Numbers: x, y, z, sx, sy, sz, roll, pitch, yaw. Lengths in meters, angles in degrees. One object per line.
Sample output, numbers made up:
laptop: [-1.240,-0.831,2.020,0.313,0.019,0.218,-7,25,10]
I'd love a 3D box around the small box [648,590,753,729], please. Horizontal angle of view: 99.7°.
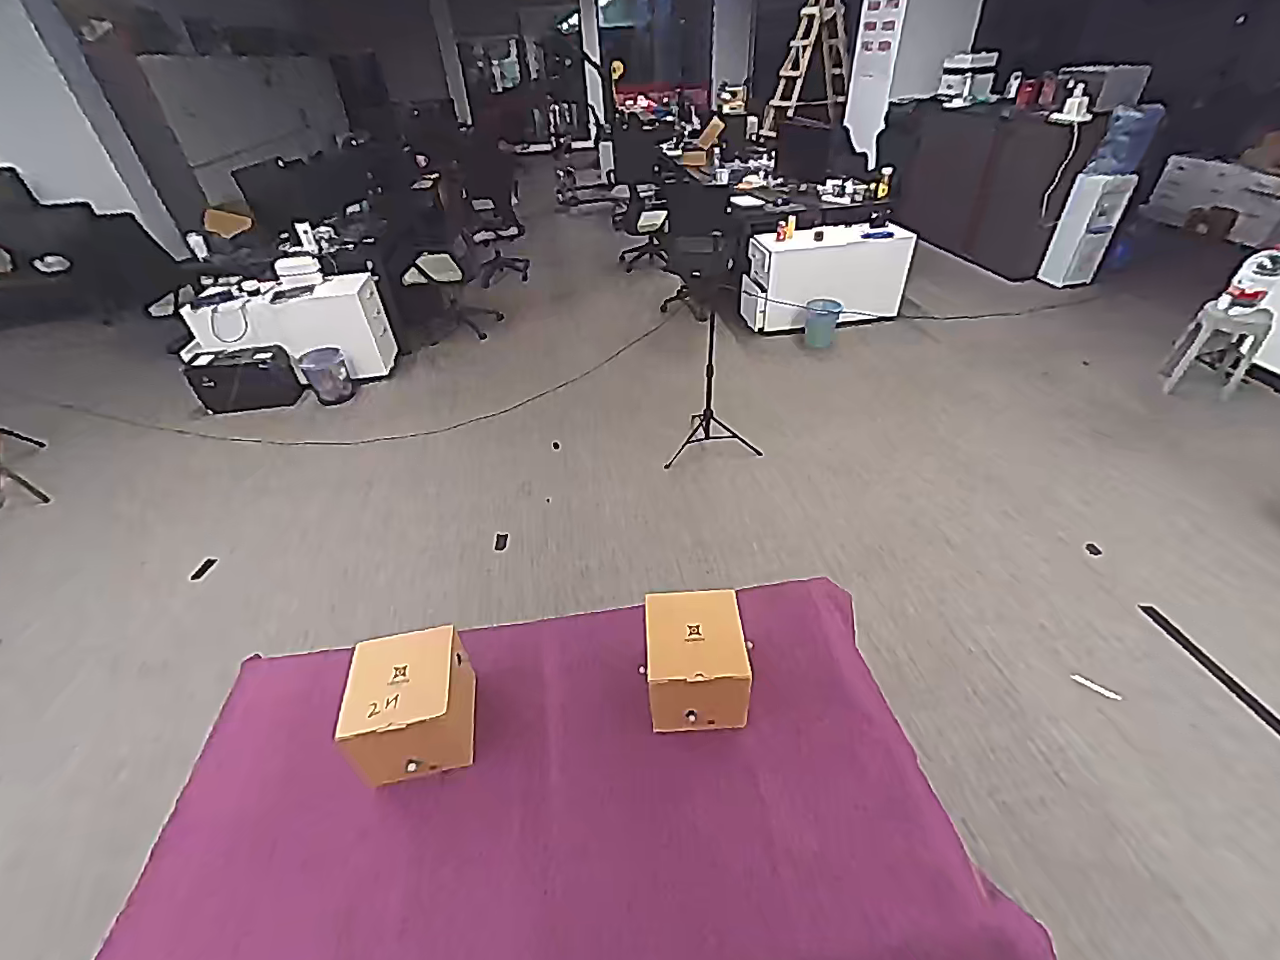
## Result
small box: [0.099,0.319,0.966,0.168,0.176,0.179,-4,40,1]

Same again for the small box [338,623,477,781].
small box: [-0.384,0.379,0.928,0.168,0.176,0.179,-9,39,-7]
